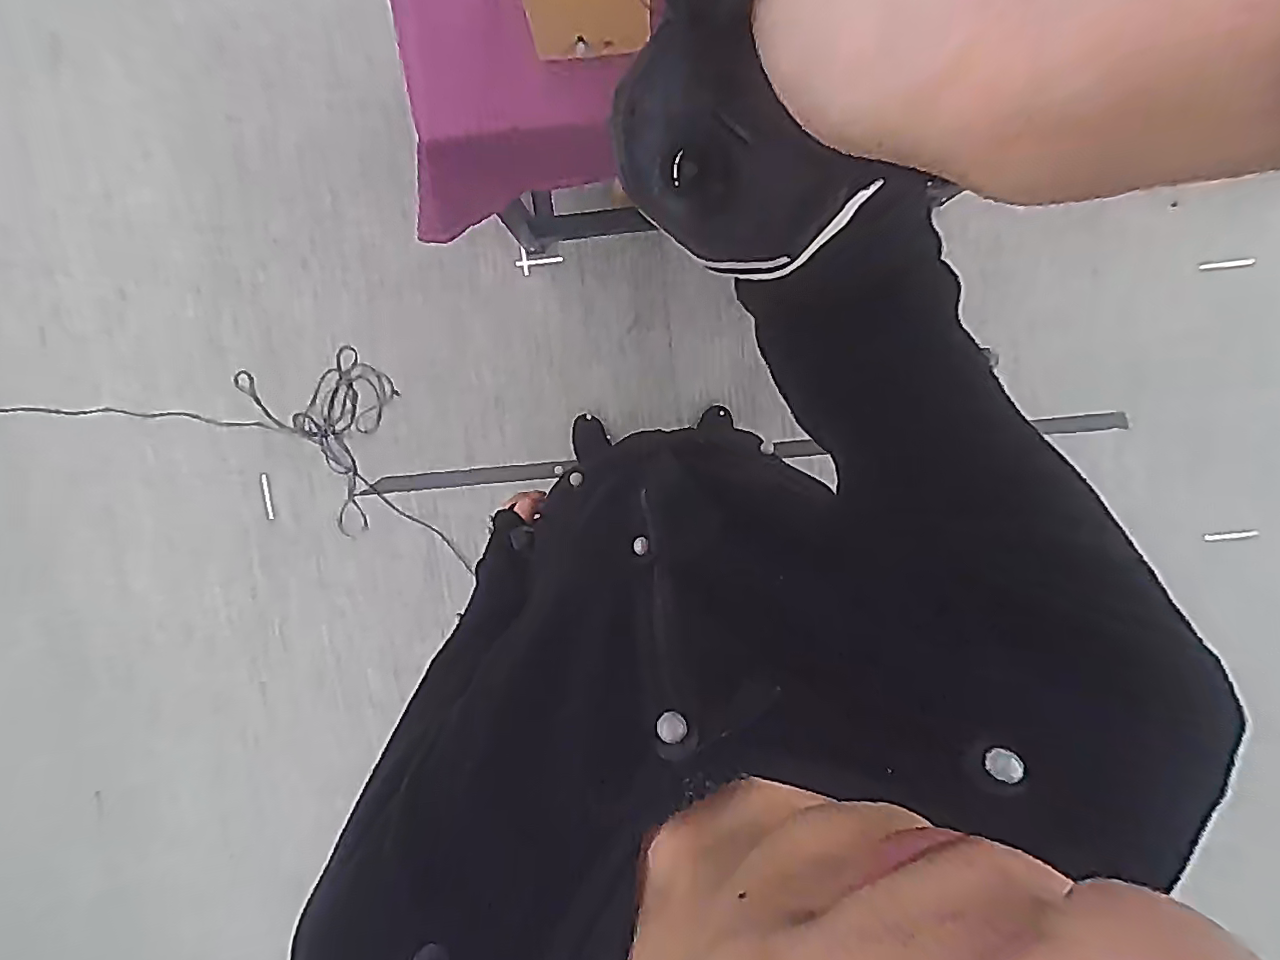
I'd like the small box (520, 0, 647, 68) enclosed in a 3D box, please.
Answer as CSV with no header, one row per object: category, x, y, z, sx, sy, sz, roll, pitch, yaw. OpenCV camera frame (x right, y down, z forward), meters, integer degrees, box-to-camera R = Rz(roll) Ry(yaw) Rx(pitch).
small box,-0.079,-0.694,0.711,0.168,0.176,0.179,-5,98,2
